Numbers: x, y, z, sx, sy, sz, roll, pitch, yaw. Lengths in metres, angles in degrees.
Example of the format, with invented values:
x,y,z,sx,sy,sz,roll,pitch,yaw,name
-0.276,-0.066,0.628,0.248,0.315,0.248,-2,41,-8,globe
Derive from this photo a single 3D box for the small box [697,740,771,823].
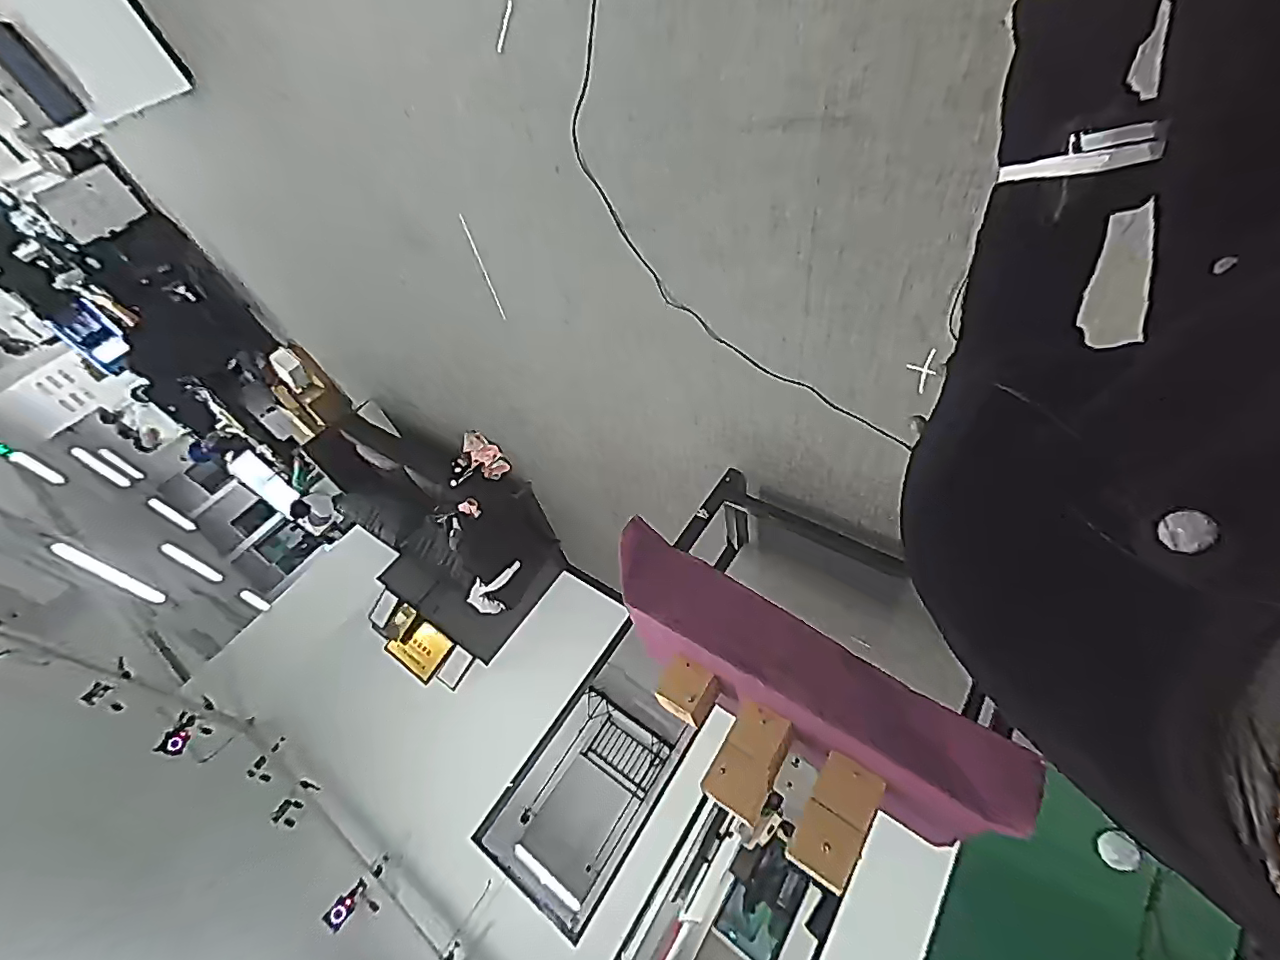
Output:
x,y,z,sx,sy,sz,roll,pitch,yaw,name
0.317,0.996,1.804,0.179,0.176,0.168,21,150,32,small box

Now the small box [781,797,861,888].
x,y,z,sx,sy,sz,roll,pitch,yaw,name
0.552,1.104,1.660,0.179,0.176,0.168,23,150,29,small box

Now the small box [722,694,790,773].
x,y,z,sx,sy,sz,roll,pitch,yaw,name
0.409,0.883,1.878,0.168,0.176,0.179,20,148,34,small box

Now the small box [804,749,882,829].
x,y,z,sx,sy,sz,roll,pitch,yaw,name
0.647,0.989,1.730,0.179,0.176,0.168,24,151,30,small box
